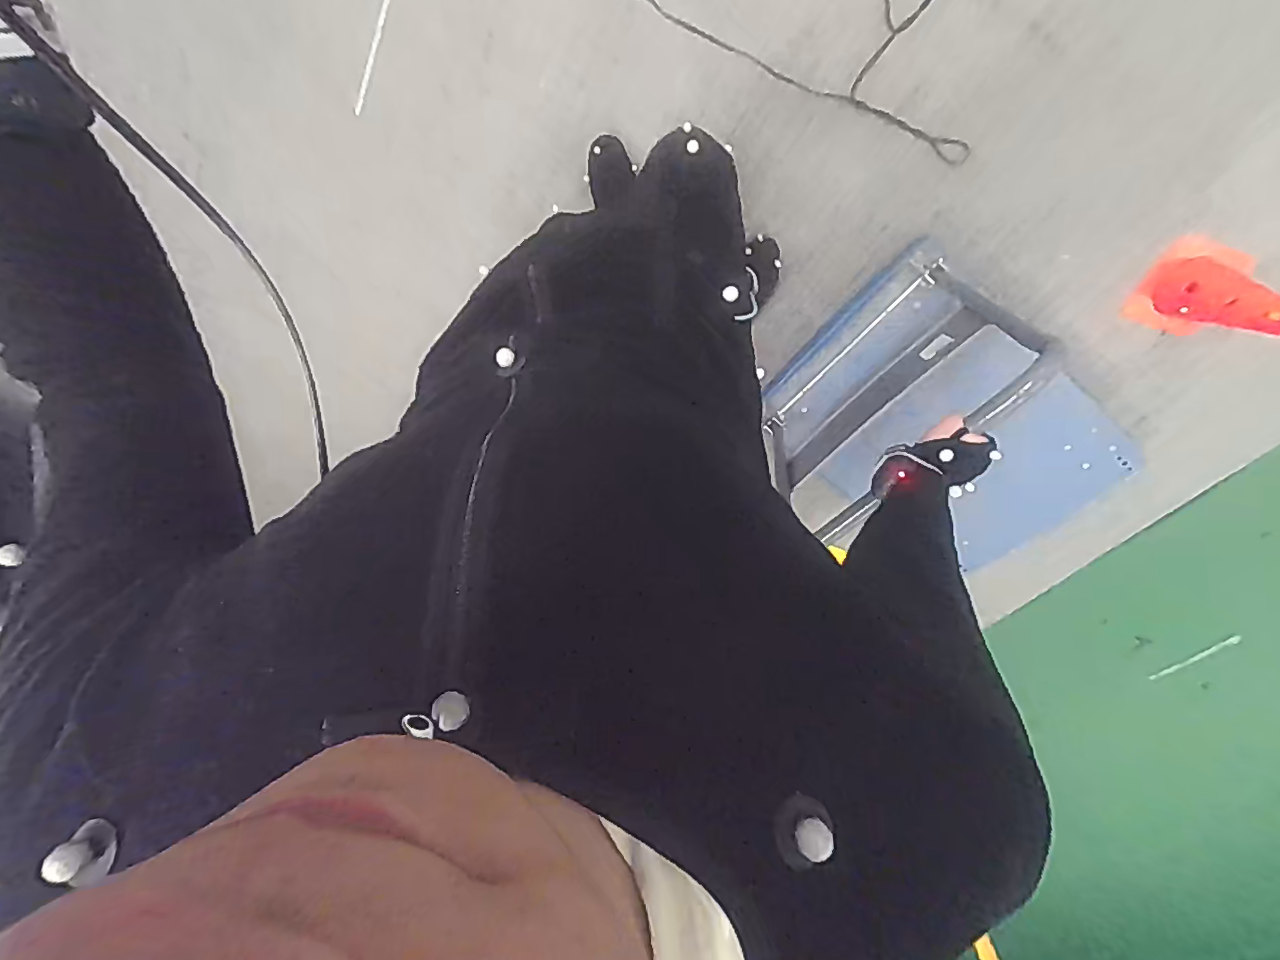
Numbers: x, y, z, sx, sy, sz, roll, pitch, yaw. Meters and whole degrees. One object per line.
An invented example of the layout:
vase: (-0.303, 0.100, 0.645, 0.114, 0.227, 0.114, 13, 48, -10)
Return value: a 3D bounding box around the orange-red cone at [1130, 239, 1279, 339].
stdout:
orange-red cone: (1.316, -0.367, 1.164, 0.198, 0.360, 0.199, 19, 122, -5)
